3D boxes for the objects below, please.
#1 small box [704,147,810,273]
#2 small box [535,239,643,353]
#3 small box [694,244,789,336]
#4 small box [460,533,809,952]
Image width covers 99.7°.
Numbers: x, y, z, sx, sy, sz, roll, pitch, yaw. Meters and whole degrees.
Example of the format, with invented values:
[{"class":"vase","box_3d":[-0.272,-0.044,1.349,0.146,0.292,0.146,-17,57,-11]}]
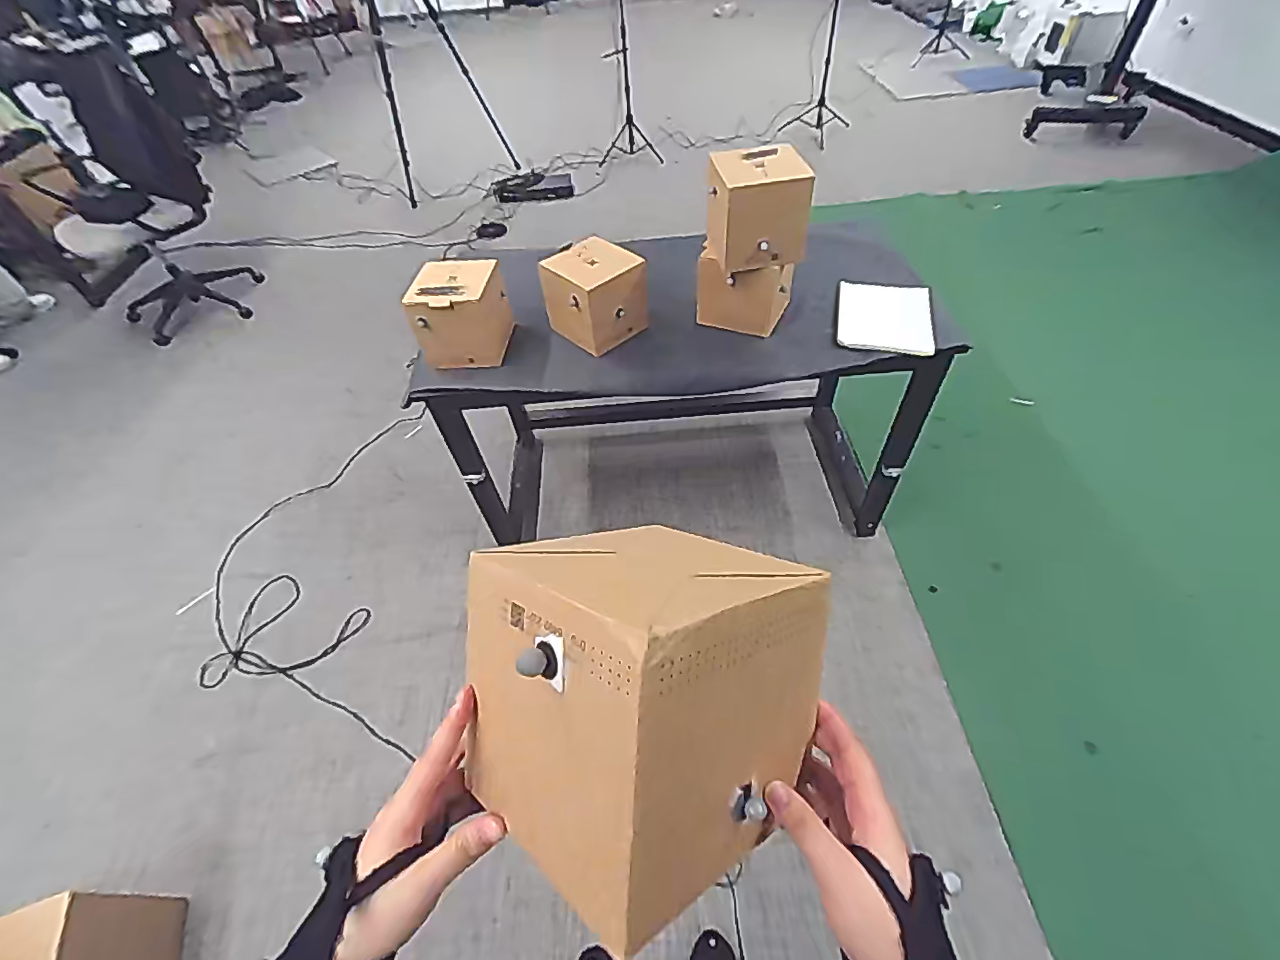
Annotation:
[{"class":"small box","box_3d":[0.225,-0.545,1.094,0.168,0.176,0.179,-9,50,-1]},{"class":"small box","box_3d":[-0.108,-0.412,1.226,0.168,0.176,0.179,-37,56,-25]},{"class":"small box","box_3d":[0.234,-0.449,1.228,0.179,0.176,0.168,18,53,20]},{"class":"small box","box_3d":[-0.002,0.134,0.364,0.179,0.176,0.168,-2,7,-44]}]
